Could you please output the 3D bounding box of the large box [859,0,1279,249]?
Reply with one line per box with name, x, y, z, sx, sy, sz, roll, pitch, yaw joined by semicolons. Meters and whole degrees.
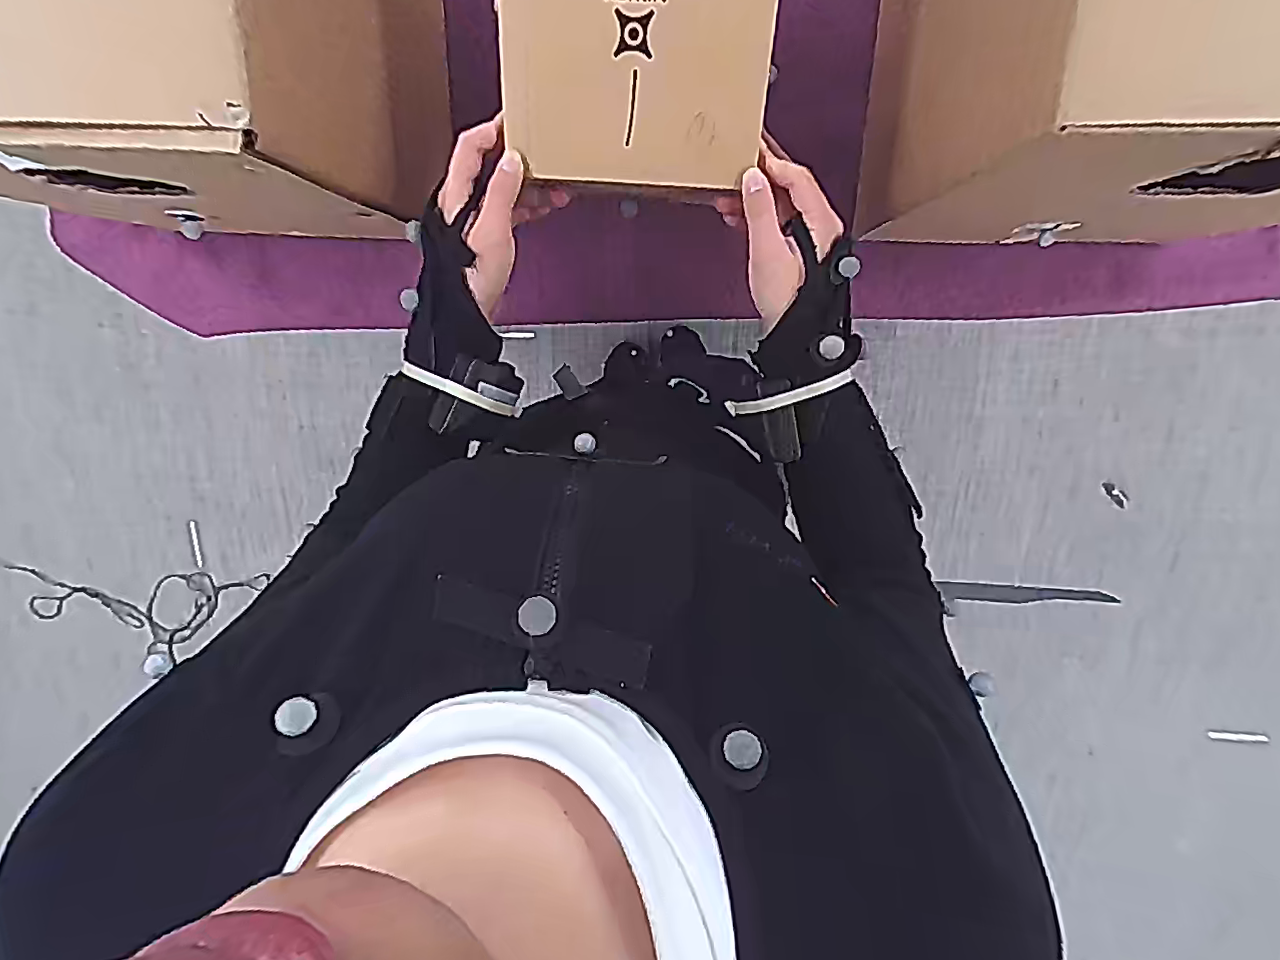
large box;0.357;-0.388;0.347;0.320;0.320;0.408;2;104;3
